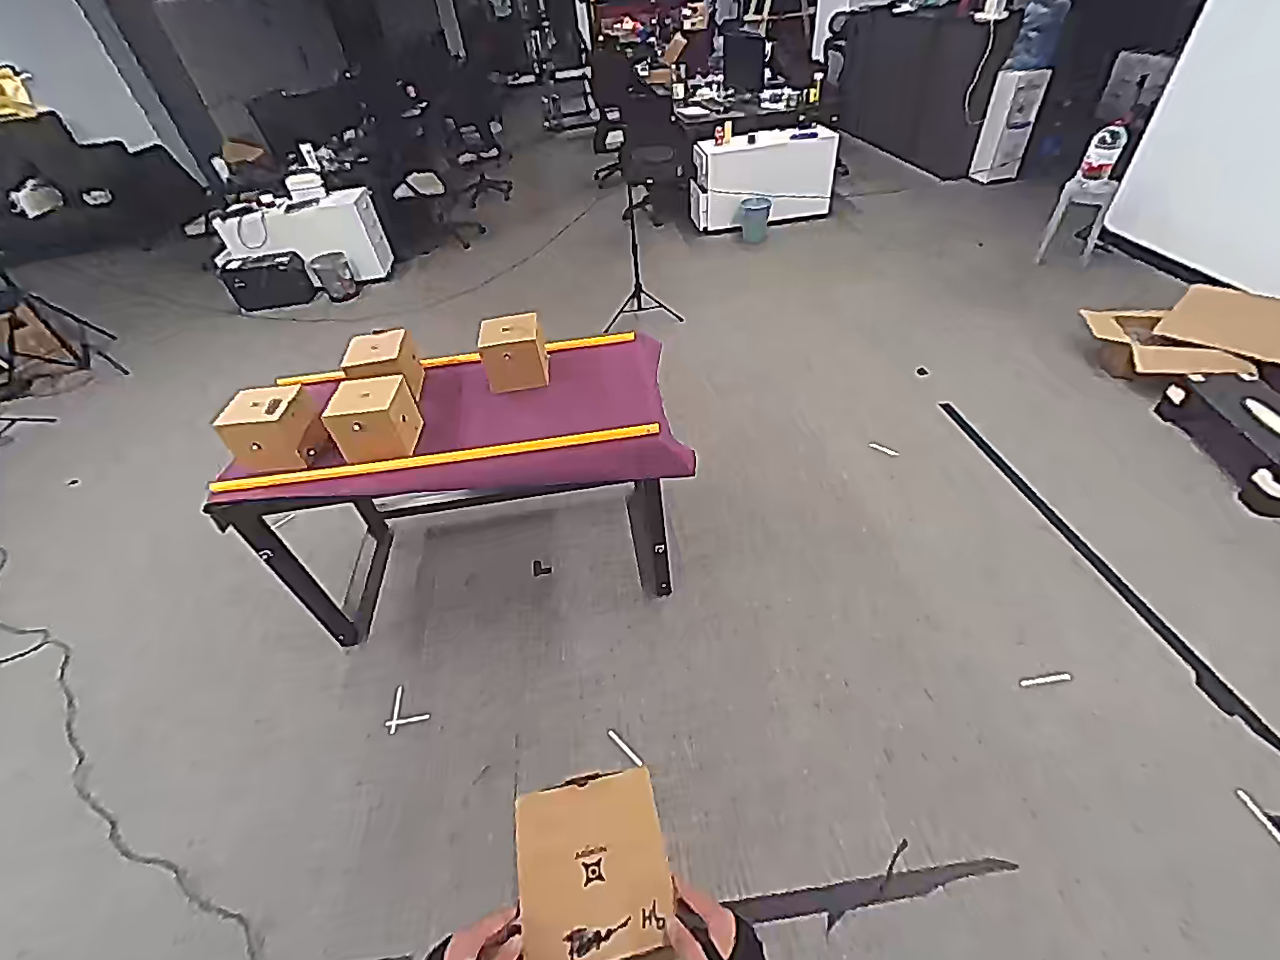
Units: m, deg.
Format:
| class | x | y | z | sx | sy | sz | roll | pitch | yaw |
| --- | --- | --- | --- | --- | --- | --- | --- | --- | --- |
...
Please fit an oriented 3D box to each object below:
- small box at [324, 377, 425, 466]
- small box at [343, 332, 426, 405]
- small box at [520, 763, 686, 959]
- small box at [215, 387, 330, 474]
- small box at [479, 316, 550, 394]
| class | x | y | z | sx | sy | sz | roll | pitch | yaw |
| --- | --- | --- | --- | --- | --- | --- | --- | --- | --- |
| small box | -0.715 | -0.159 | 1.483 | 0.179 | 0.176 | 0.168 | -7 | 43 | 1 |
| small box | -0.782 | -0.335 | 1.677 | 0.168 | 0.176 | 0.179 | -10 | 44 | -3 |
| small box | -0.047 | 0.480 | 0.653 | 0.168 | 0.176 | 0.179 | -10 | 43 | -8 |
| small box | -0.997 | -0.134 | 1.489 | 0.179 | 0.176 | 0.168 | -5 | 43 | 2 |
| small box | -0.383 | -0.384 | 1.676 | 0.179 | 0.176 | 0.168 | -8 | 45 | -1 |
